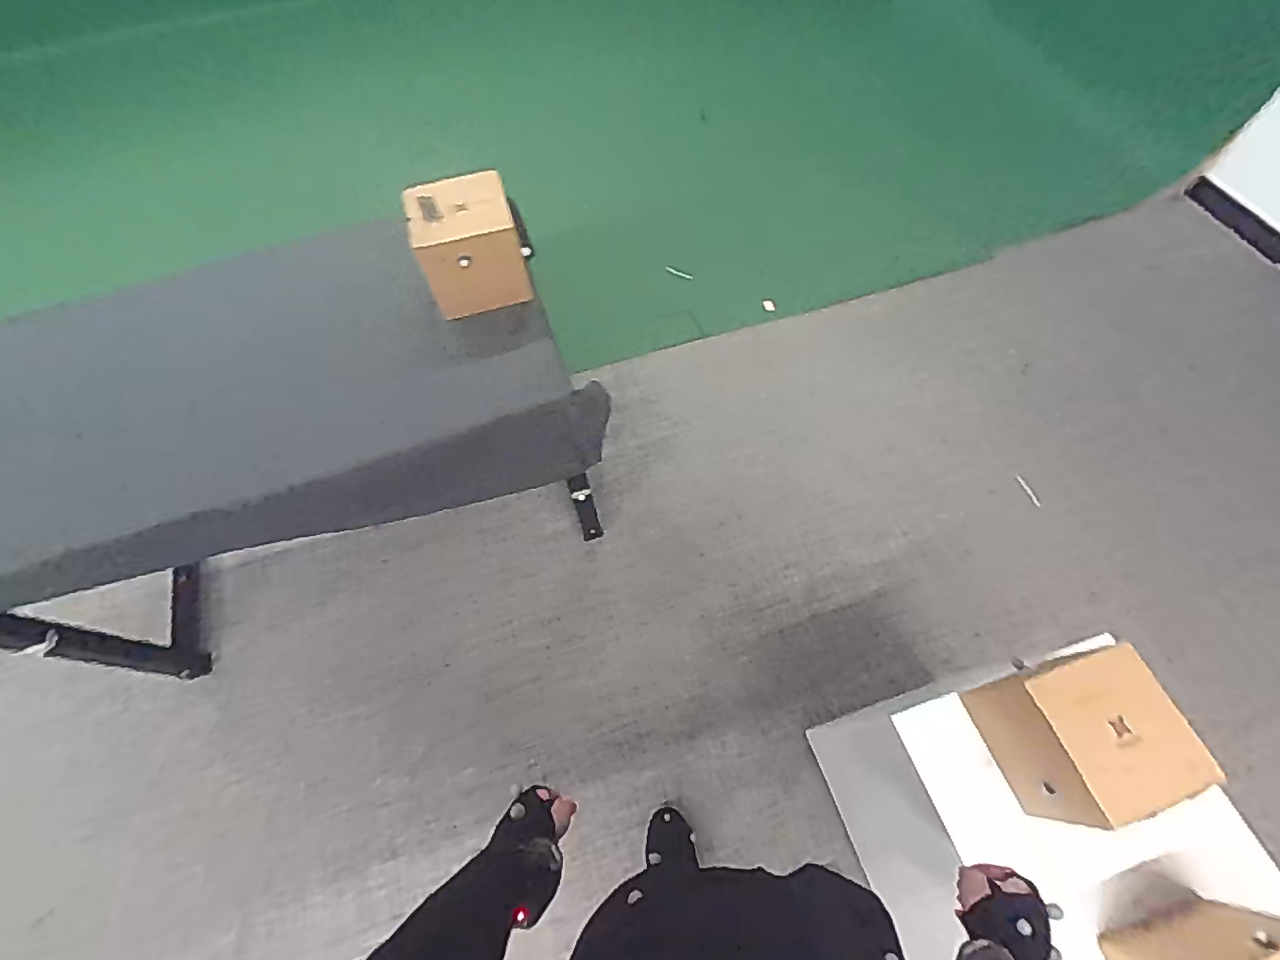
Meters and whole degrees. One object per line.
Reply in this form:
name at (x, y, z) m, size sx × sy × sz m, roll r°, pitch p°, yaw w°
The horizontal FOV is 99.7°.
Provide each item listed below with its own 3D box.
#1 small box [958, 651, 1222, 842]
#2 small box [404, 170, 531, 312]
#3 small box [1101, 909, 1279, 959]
small box at (0.588, 0.356, 0.736) m, size 0.168 × 0.176 × 0.179 m, roll -16°, pitch 63°, yaw -11°
small box at (-0.313, -0.434, 0.999) m, size 0.179 × 0.176 × 0.168 m, roll -14°, pitch 63°, yaw -9°
small box at (0.684, 0.618, 0.594) m, size 0.168 × 0.176 × 0.179 m, roll -15°, pitch 63°, yaw -9°
